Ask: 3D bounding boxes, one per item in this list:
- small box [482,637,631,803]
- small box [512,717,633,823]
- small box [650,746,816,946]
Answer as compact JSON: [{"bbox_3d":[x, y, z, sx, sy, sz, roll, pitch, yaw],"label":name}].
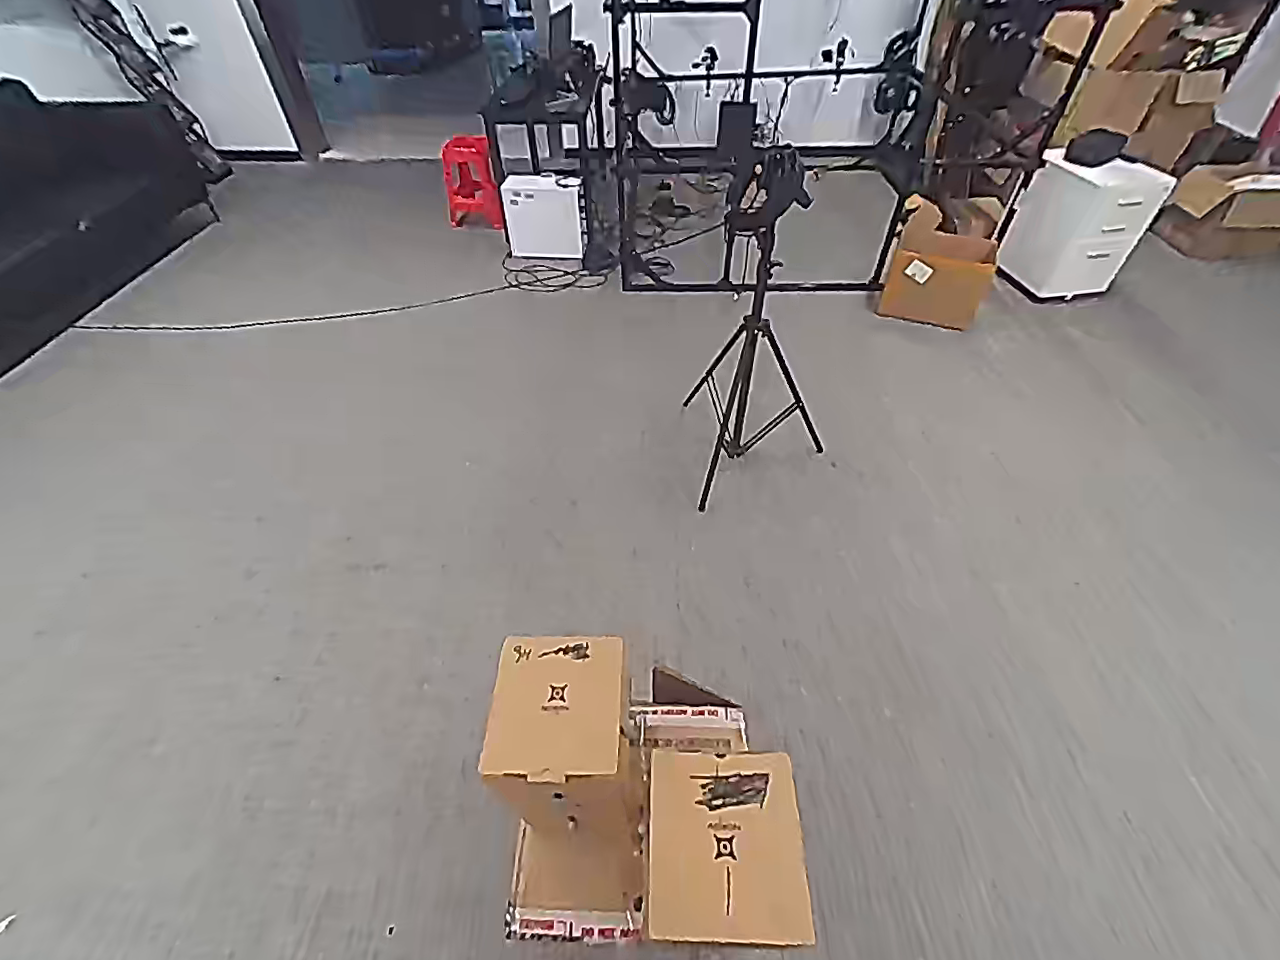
[{"bbox_3d":[-0.100,0.333,0.746,0.168,0.176,0.179,-1,49,3],"label":"small box"},{"bbox_3d":[-0.099,0.436,0.875,0.168,0.176,0.179,-2,49,2],"label":"small box"},{"bbox_3d":[0.097,0.438,0.648,0.168,0.176,0.179,0,49,2],"label":"small box"}]
